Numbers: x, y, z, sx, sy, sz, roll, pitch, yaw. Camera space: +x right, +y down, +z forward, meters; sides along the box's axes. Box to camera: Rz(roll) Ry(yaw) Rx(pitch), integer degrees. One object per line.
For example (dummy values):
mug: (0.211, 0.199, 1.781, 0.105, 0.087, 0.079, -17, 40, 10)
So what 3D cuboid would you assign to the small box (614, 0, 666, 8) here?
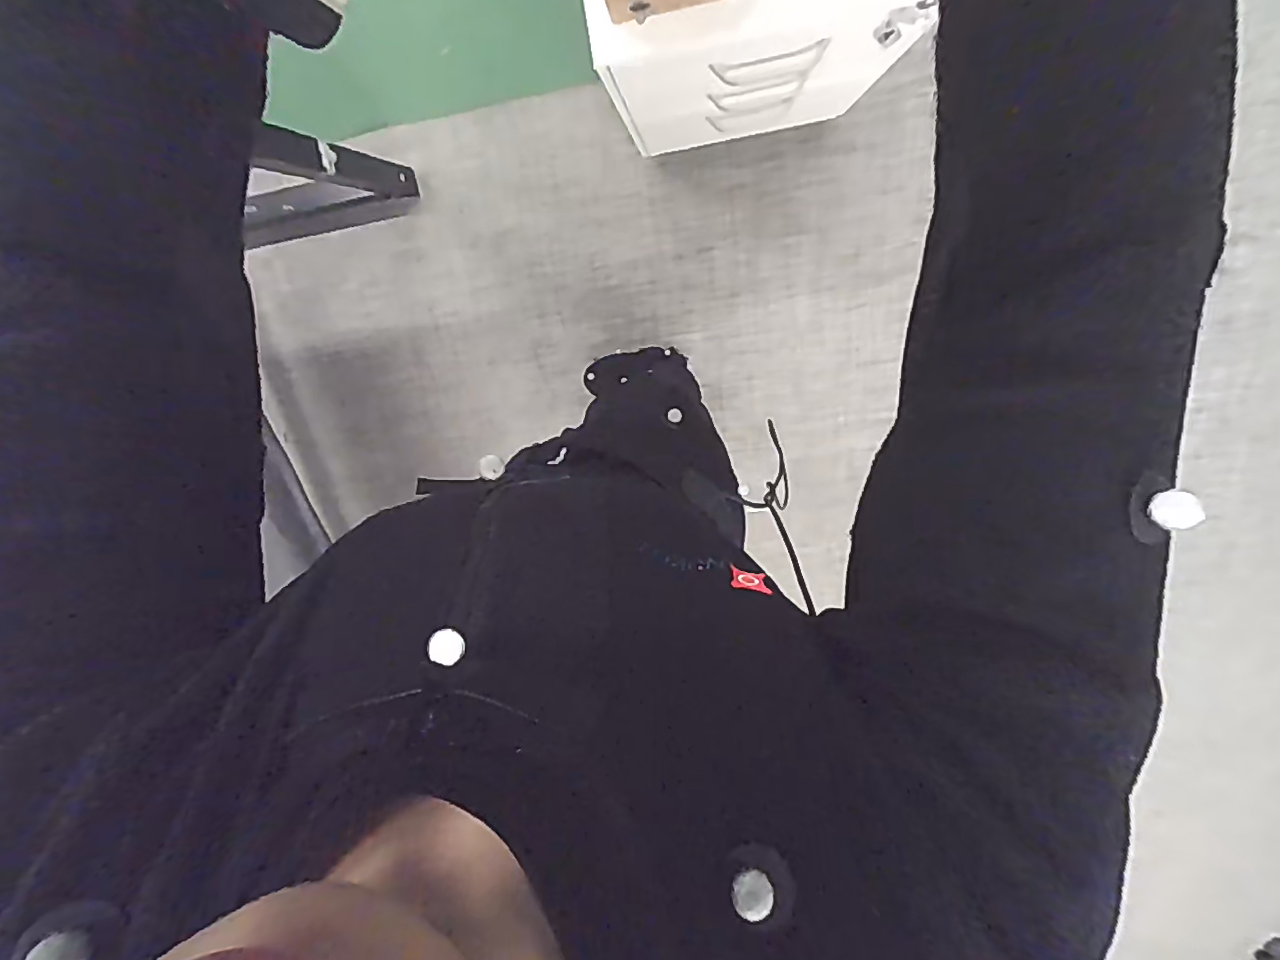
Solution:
small box: (0.029, -0.540, 0.452, 0.168, 0.176, 0.179, -7, 110, 7)
